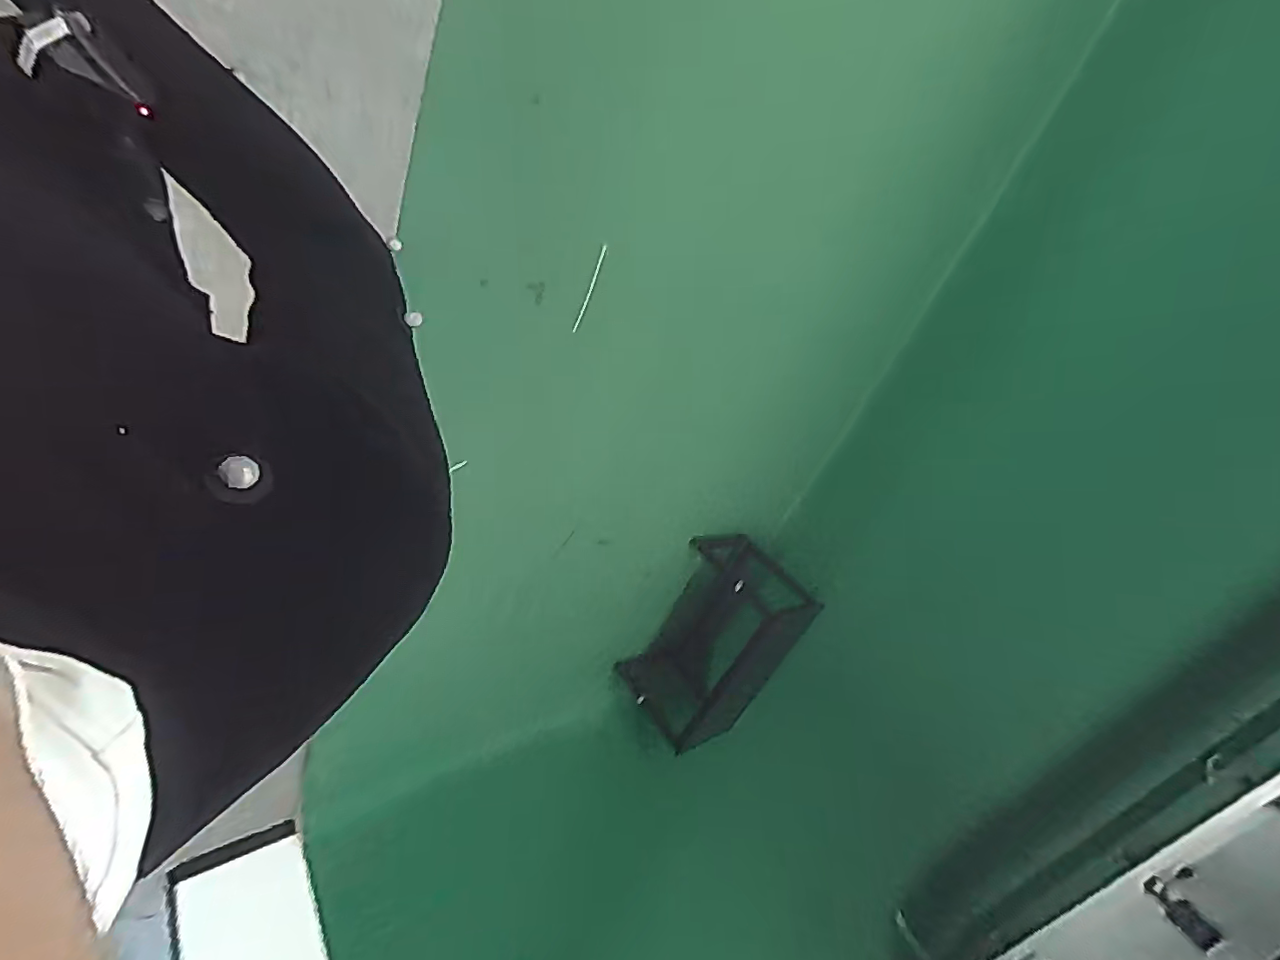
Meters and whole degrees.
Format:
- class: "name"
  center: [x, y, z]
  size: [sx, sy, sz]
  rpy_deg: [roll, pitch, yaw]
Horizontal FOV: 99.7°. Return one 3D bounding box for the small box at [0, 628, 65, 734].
- class: "small box"
  center: [-1.483, 0.470, 1.264]
  size: [0.168, 0.176, 0.179]
  rpy_deg: [-7, 131, -39]
